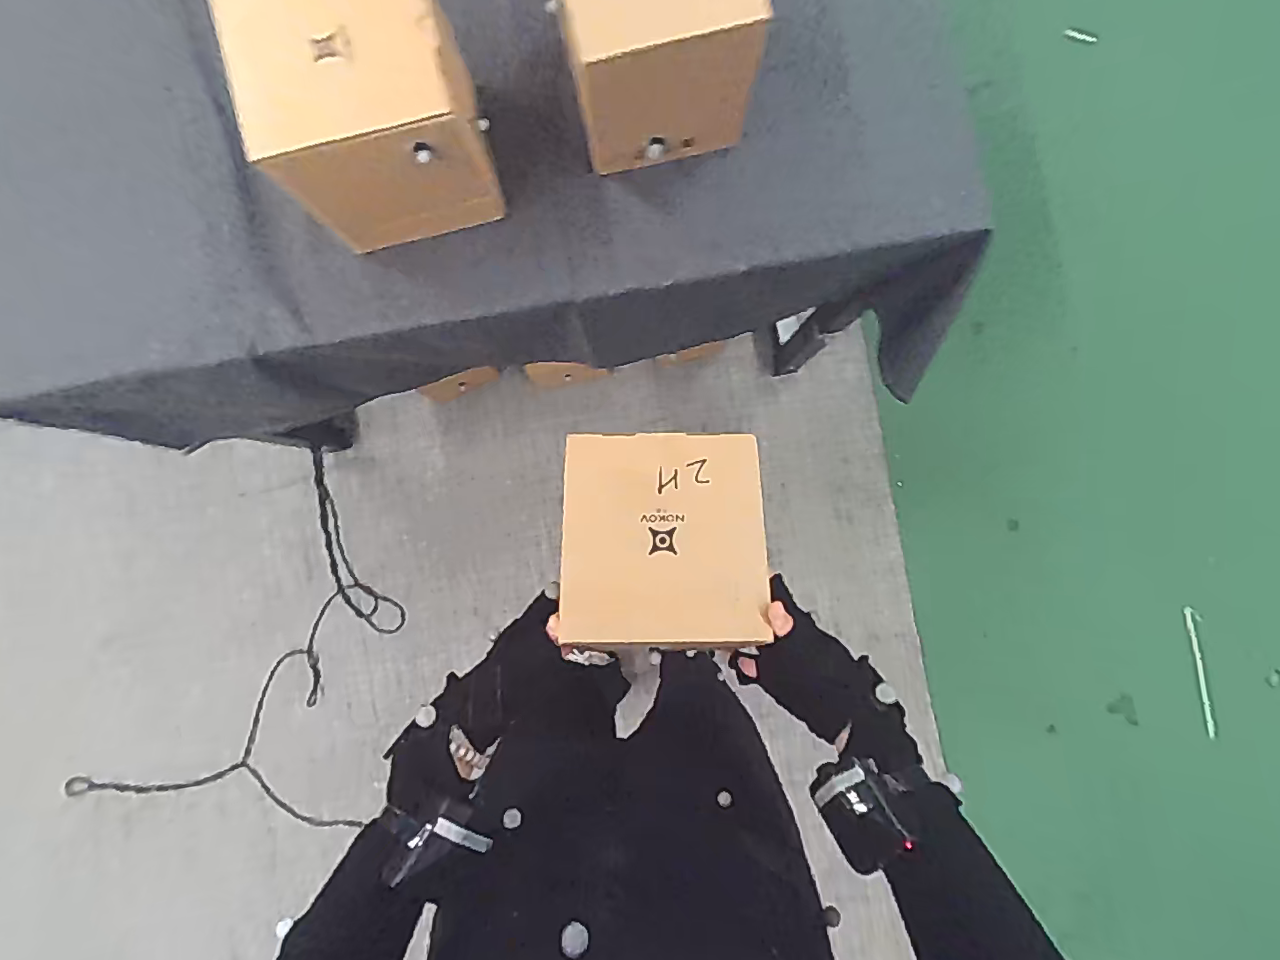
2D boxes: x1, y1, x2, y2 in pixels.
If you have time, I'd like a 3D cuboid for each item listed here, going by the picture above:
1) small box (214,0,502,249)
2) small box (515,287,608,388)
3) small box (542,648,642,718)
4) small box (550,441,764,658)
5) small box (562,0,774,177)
[{"bbox_3d":[-0.255,-0.353,0.526,0.179,0.176,0.168,-14,88,-1],"label":"small box"},{"bbox_3d":[-0.172,-0.322,1.249,0.179,0.176,0.168,-12,88,1],"label":"small box"},{"bbox_3d":[-0.104,0.407,1.241,0.179,0.176,0.168,24,98,19],"label":"small box"},{"bbox_3d":[0.014,0.075,0.509,0.168,0.176,0.179,0,70,-1],"label":"small box"},{"bbox_3d":[0.014,-0.440,0.527,0.168,0.176,0.179,-13,88,1],"label":"small box"}]
